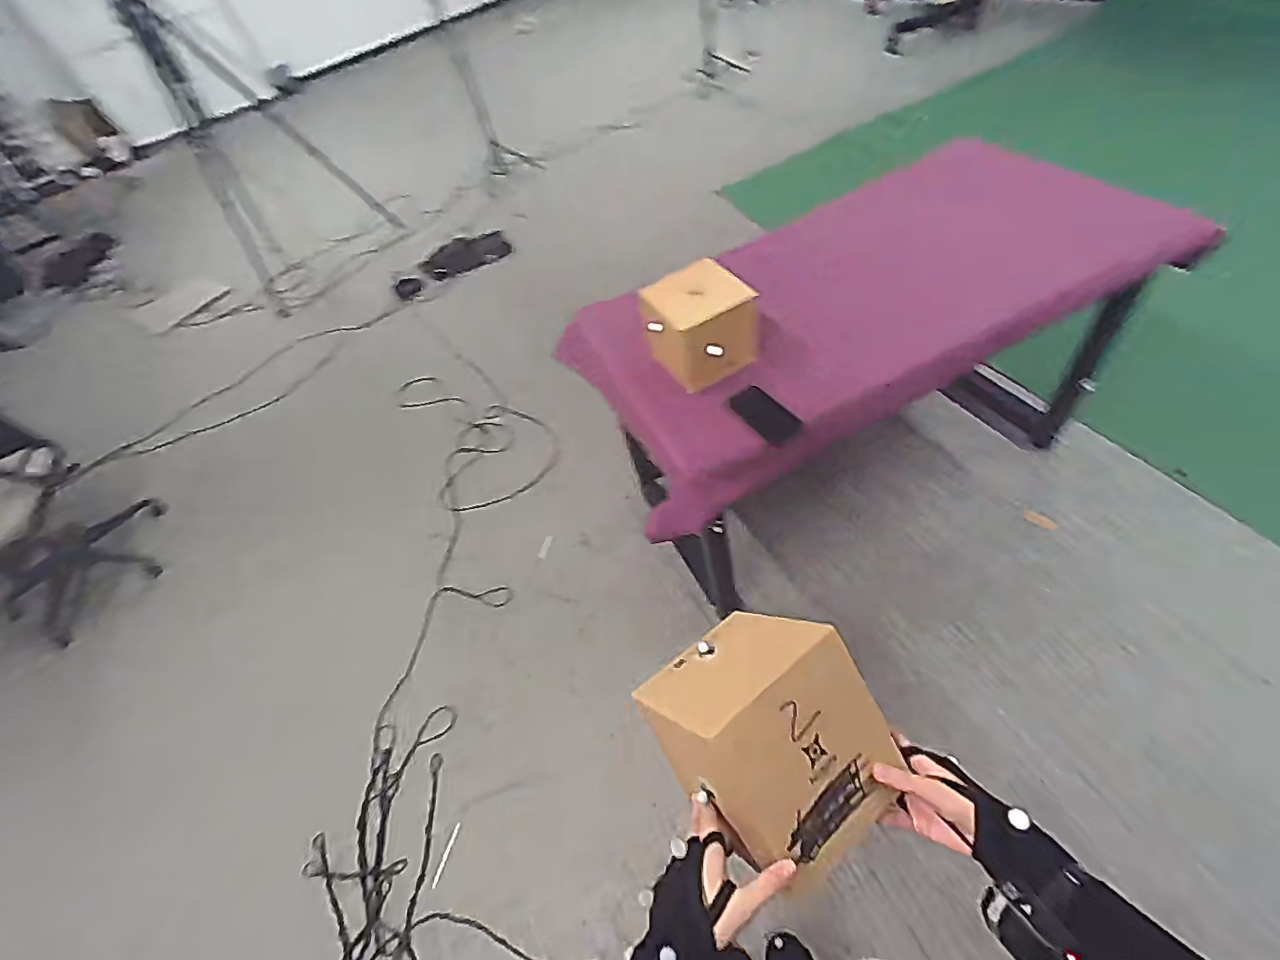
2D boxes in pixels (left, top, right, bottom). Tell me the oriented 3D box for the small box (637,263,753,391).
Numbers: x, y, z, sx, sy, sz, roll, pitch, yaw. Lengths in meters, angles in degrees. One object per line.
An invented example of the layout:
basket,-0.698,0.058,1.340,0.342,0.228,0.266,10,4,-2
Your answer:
small box,0.119,-0.307,1.114,0.168,0.176,0.179,-29,50,-8
